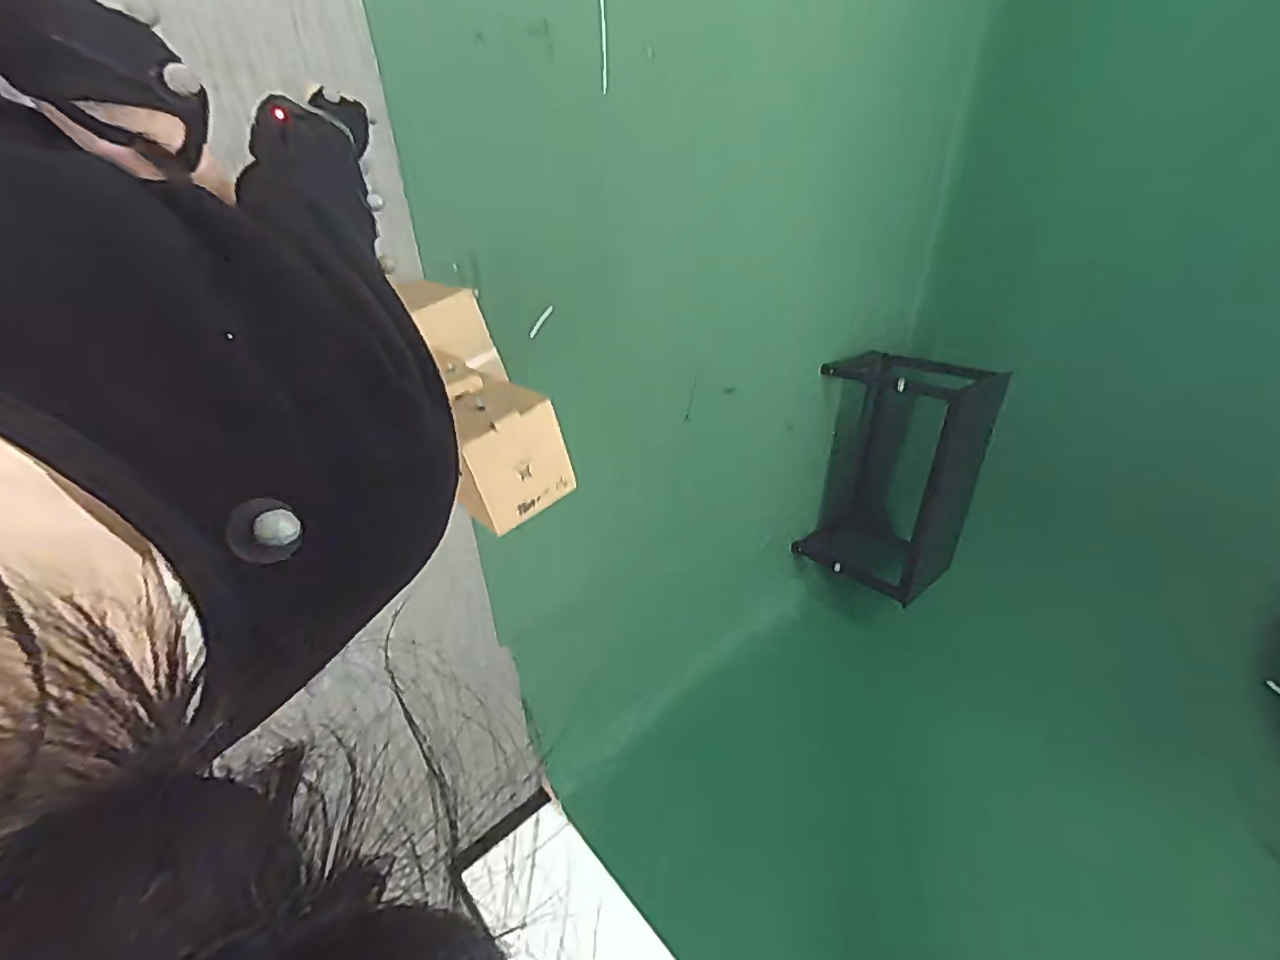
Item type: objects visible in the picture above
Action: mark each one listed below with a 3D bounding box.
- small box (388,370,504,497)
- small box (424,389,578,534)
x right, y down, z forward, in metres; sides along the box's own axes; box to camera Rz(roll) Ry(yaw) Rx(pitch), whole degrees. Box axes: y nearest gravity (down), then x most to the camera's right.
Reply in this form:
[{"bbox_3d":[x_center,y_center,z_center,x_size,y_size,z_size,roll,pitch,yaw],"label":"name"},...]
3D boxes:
[{"bbox_3d":[-0.348,-0.099,1.026,0.168,0.176,0.179,-32,129,-29],"label":"small box"},{"bbox_3d":[-0.237,-0.044,0.919,0.168,0.176,0.179,-33,128,-28],"label":"small box"}]
